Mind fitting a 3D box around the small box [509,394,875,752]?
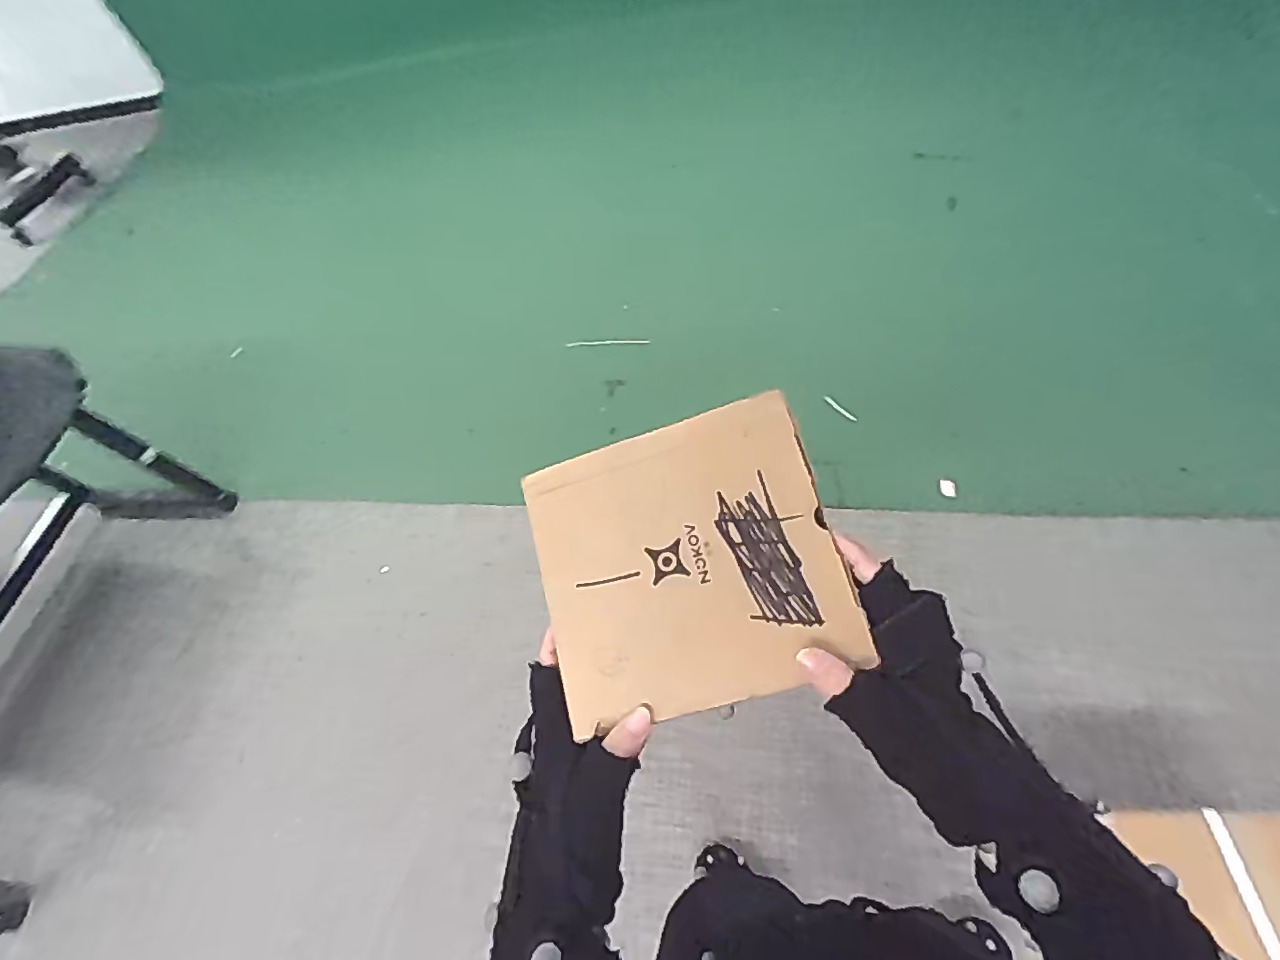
[{"bbox_3d":[0.035,0.067,0.389,0.179,0.176,0.168,-21,72,6],"label":"small box"}]
